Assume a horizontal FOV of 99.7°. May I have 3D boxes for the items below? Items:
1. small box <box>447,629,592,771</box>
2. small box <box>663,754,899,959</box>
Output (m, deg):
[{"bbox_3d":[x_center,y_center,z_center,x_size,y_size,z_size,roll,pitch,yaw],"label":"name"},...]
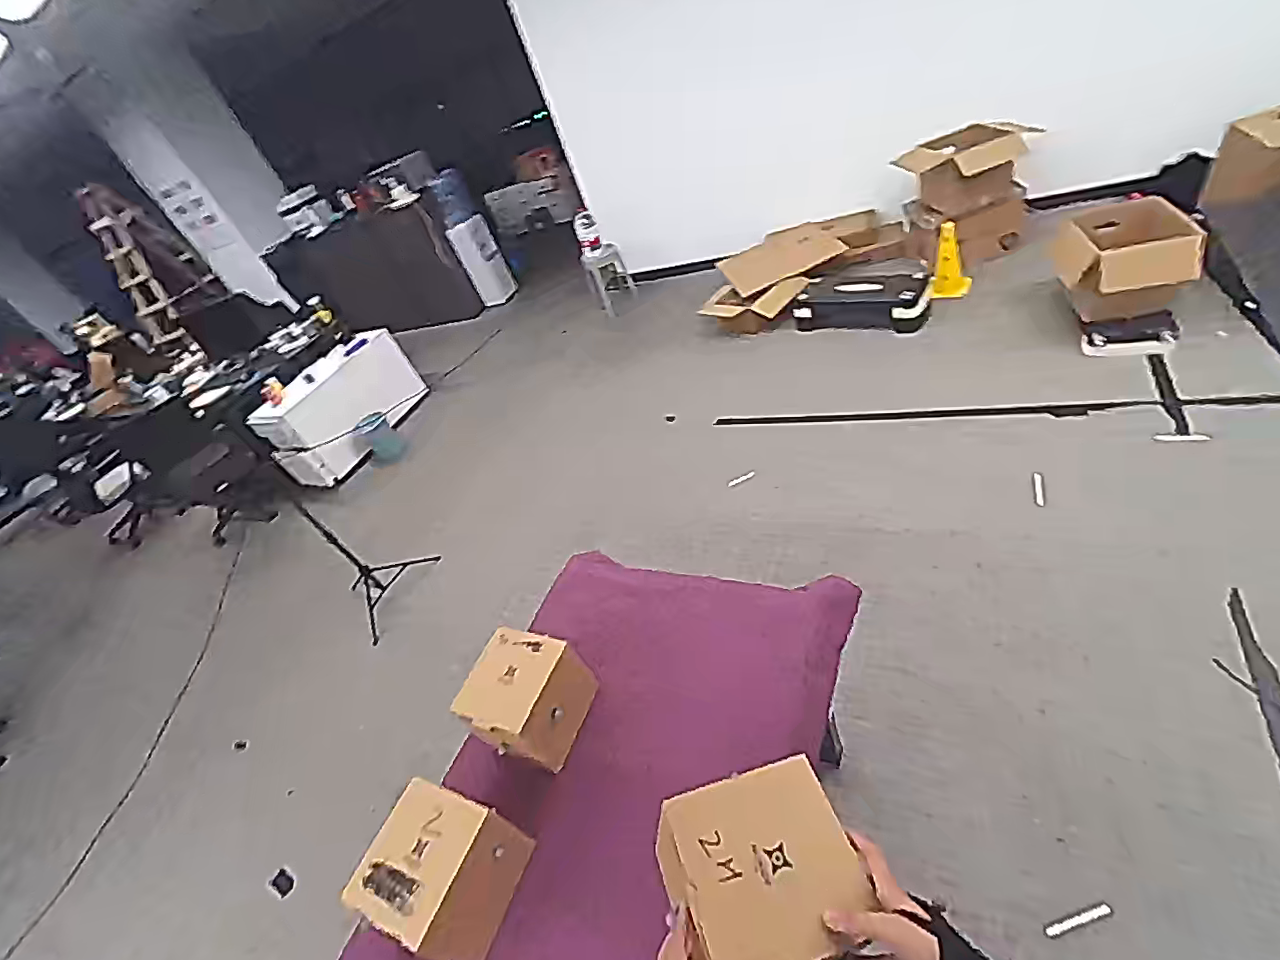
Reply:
[{"bbox_3d":[-0.212,0.408,1.003,0.168,0.176,0.179,4,47,28],"label":"small box"},{"bbox_3d":[0.133,0.433,0.586,0.179,0.176,0.168,-11,43,-13],"label":"small box"}]
